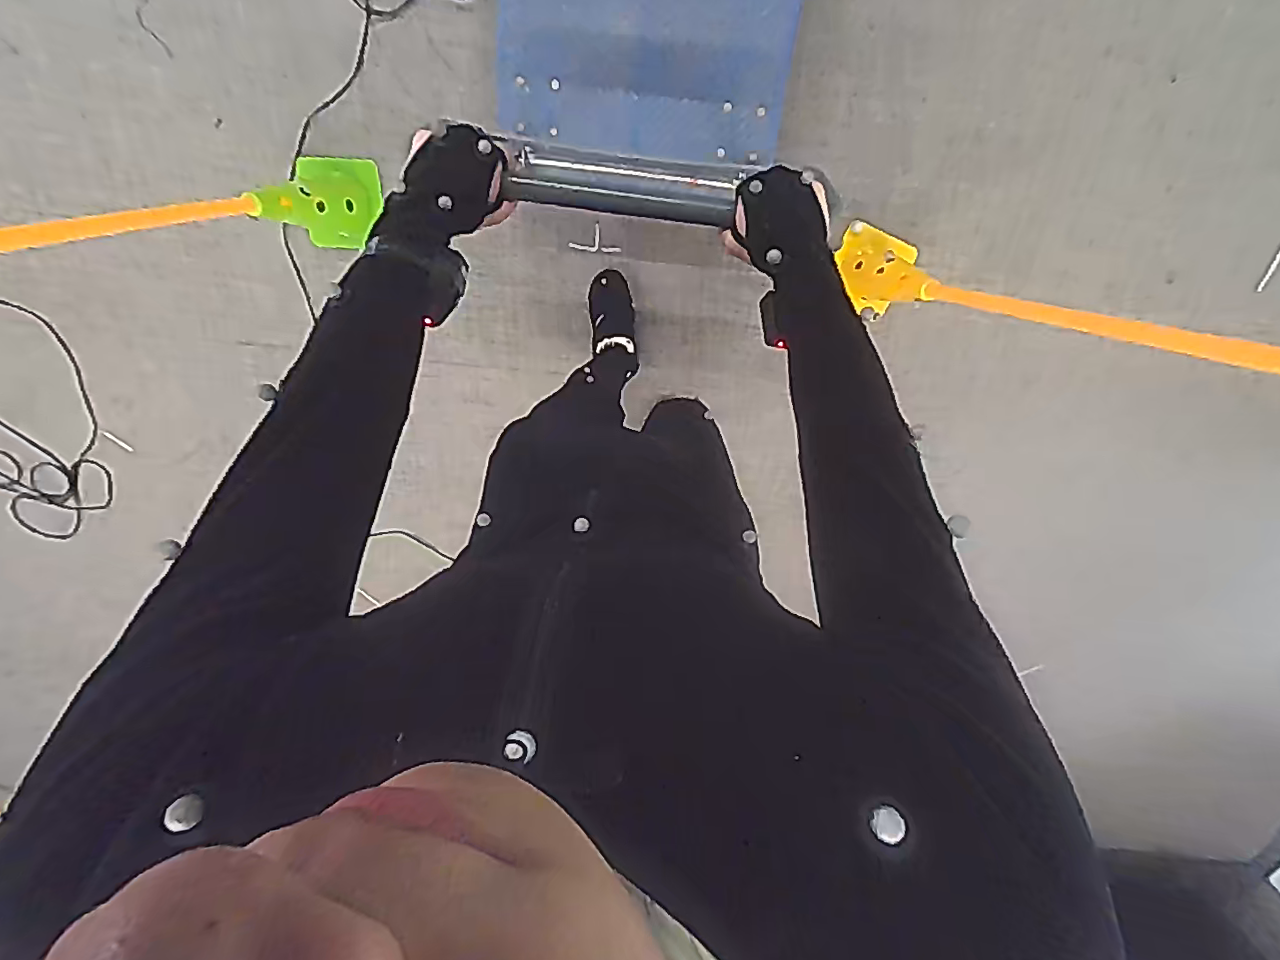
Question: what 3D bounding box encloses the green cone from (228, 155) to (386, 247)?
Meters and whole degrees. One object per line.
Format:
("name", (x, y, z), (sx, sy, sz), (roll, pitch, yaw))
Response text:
("green cone", (-0.747, -0.610, 1.180), (0.202, 0.368, 0.200), (2, 116, 2))
